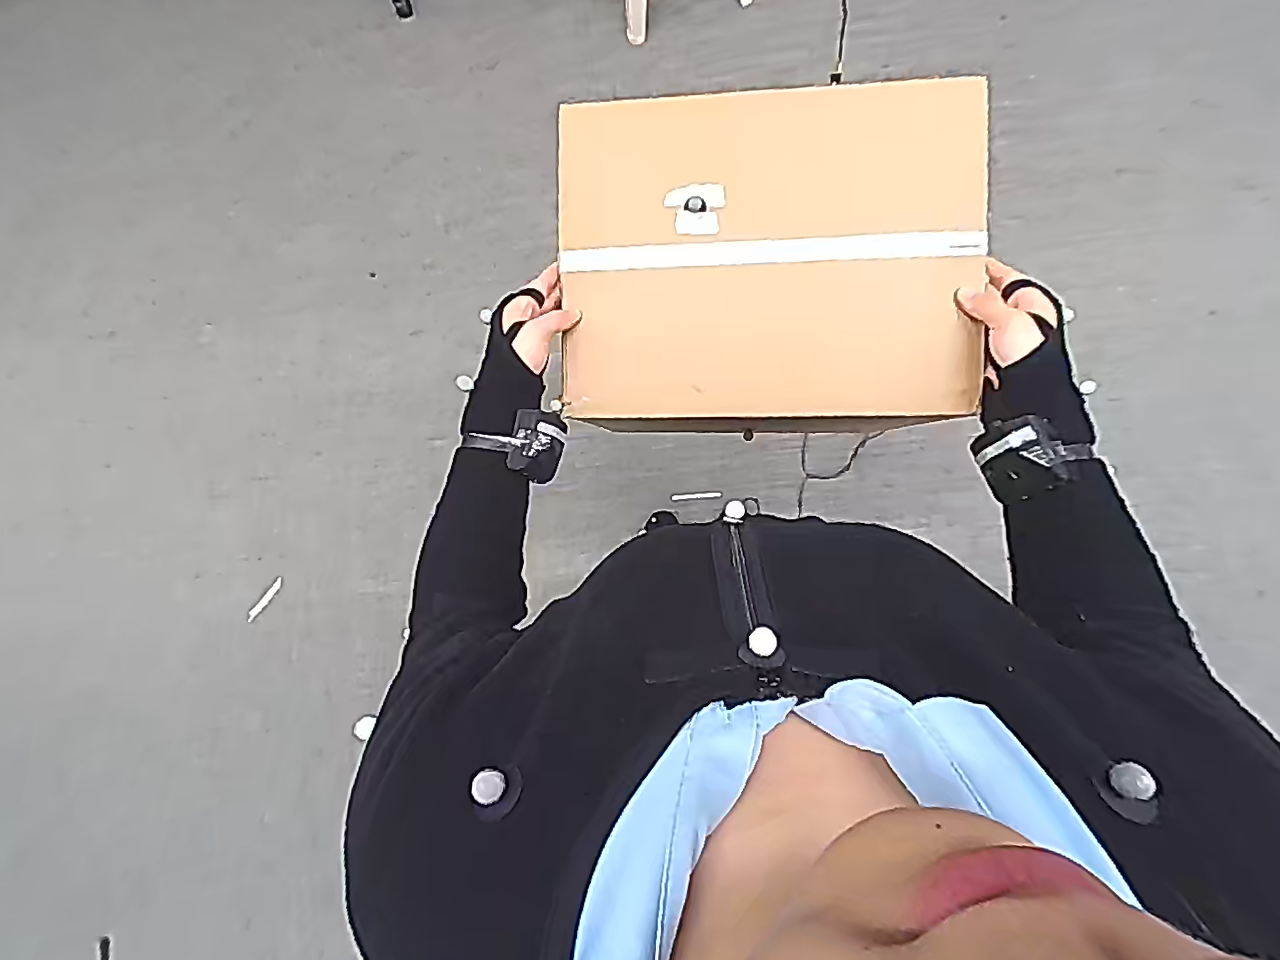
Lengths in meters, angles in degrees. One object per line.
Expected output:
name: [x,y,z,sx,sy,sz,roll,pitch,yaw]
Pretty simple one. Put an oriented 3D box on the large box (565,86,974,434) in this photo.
large box: [0.141,-0.223,0.687,0.408,0.320,0.320,-1,90,7]
